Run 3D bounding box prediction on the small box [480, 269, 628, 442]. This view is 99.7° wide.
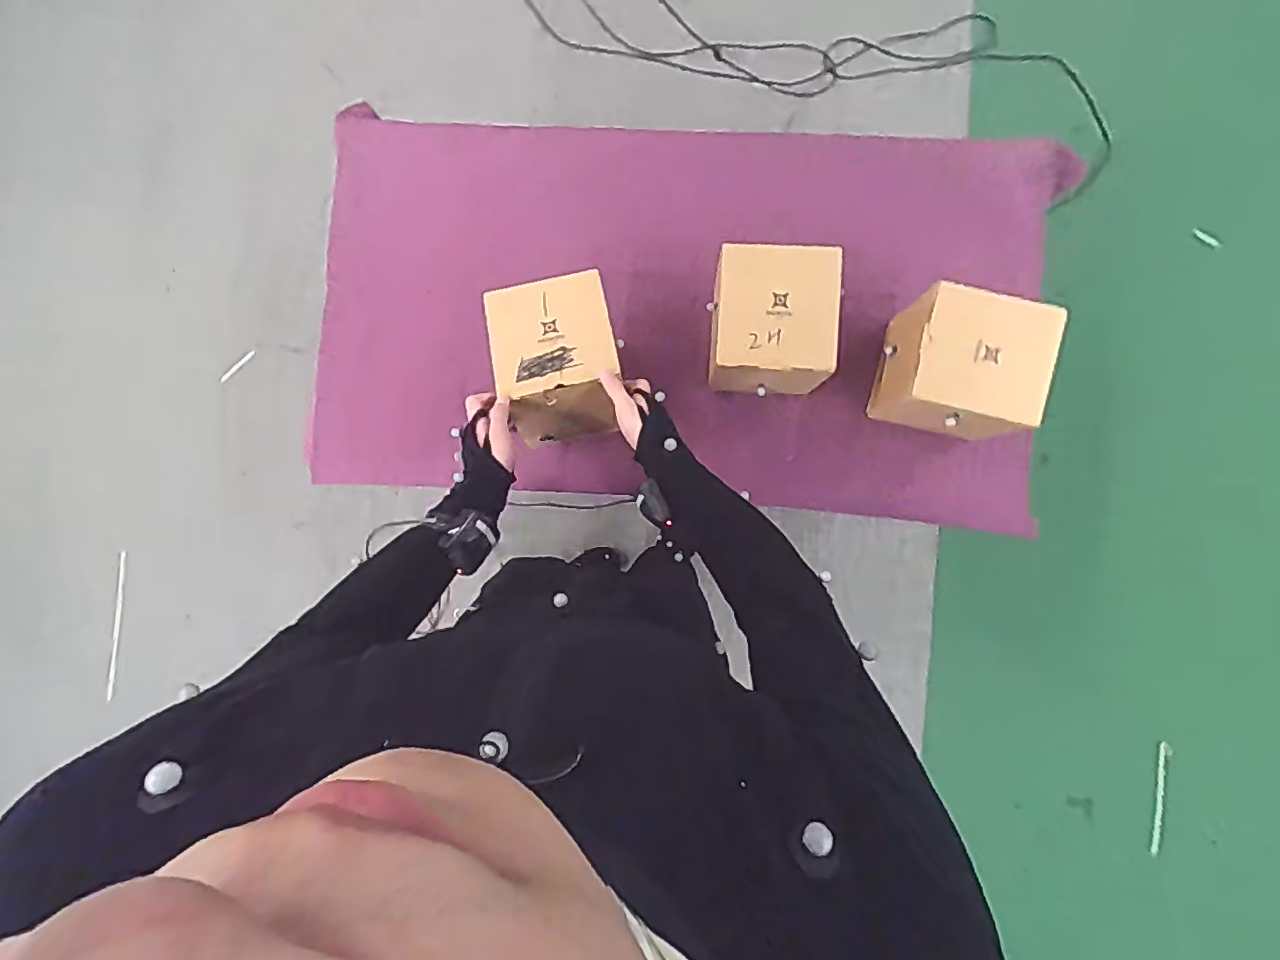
[{"bbox_3d":[-0.117,-0.168,0.790,0.168,0.176,0.179,-13,72,0],"label":"small box"}]

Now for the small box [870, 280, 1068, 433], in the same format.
[{"bbox_3d":[0.472,-0.171,0.803,0.179,0.176,0.168,14,90,6],"label":"small box"}]

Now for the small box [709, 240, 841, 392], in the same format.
[{"bbox_3d":[0.194,-0.239,0.822,0.168,0.176,0.179,4,89,4],"label":"small box"}]
